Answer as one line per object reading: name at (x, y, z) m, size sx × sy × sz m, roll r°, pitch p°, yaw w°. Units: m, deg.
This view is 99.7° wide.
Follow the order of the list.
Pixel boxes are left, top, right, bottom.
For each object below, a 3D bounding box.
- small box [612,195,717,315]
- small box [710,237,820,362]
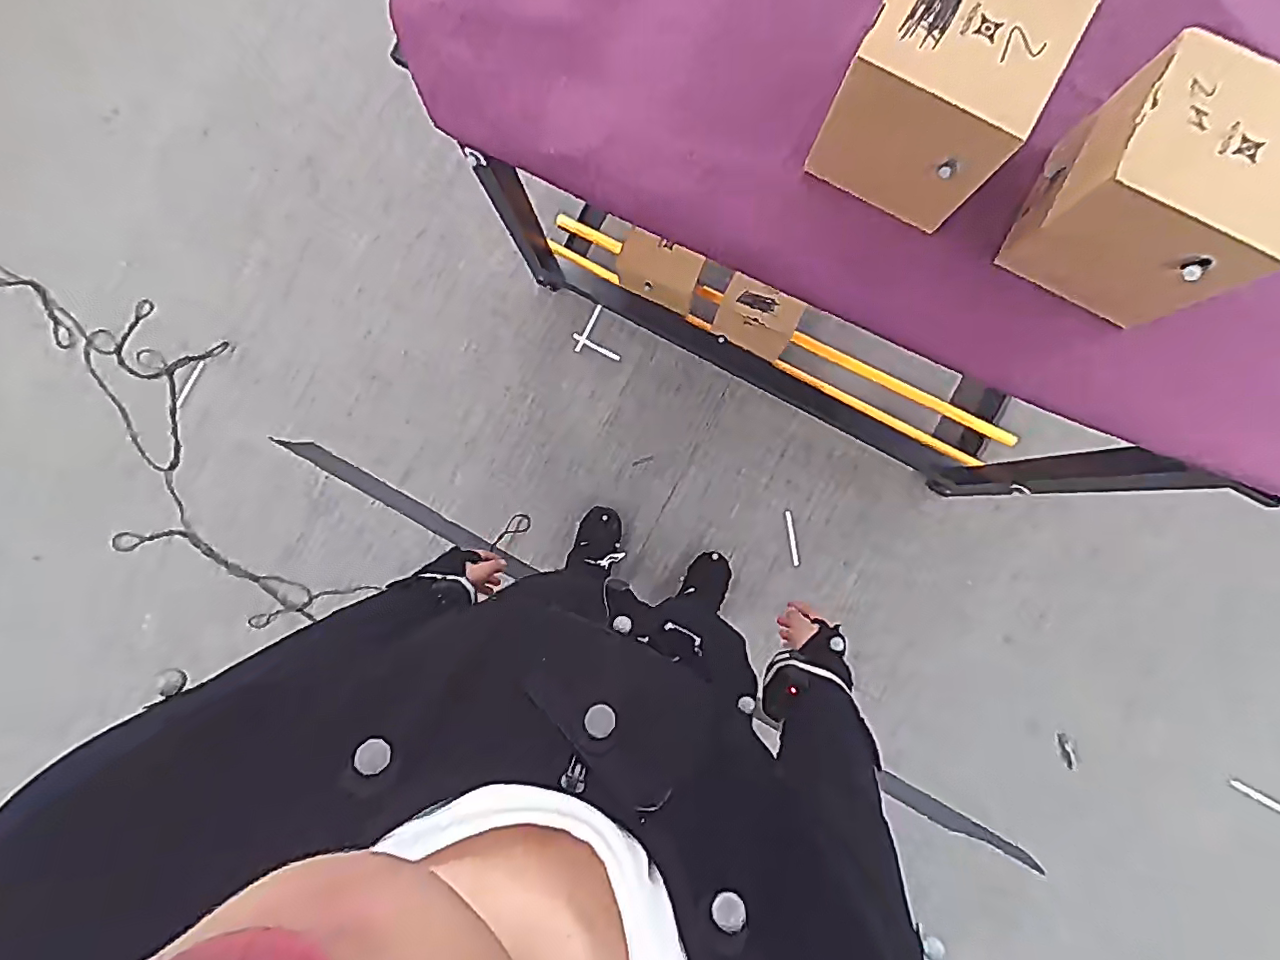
small box at (0.055, -0.490, 1.210) m, size 0.179 × 0.176 × 0.168 m, roll 24°, pitch 90°, yaw 3°
small box at (0.266, -0.388, 1.196) m, size 0.168 × 0.176 × 0.179 m, roll 27°, pitch 82°, yaw 2°
